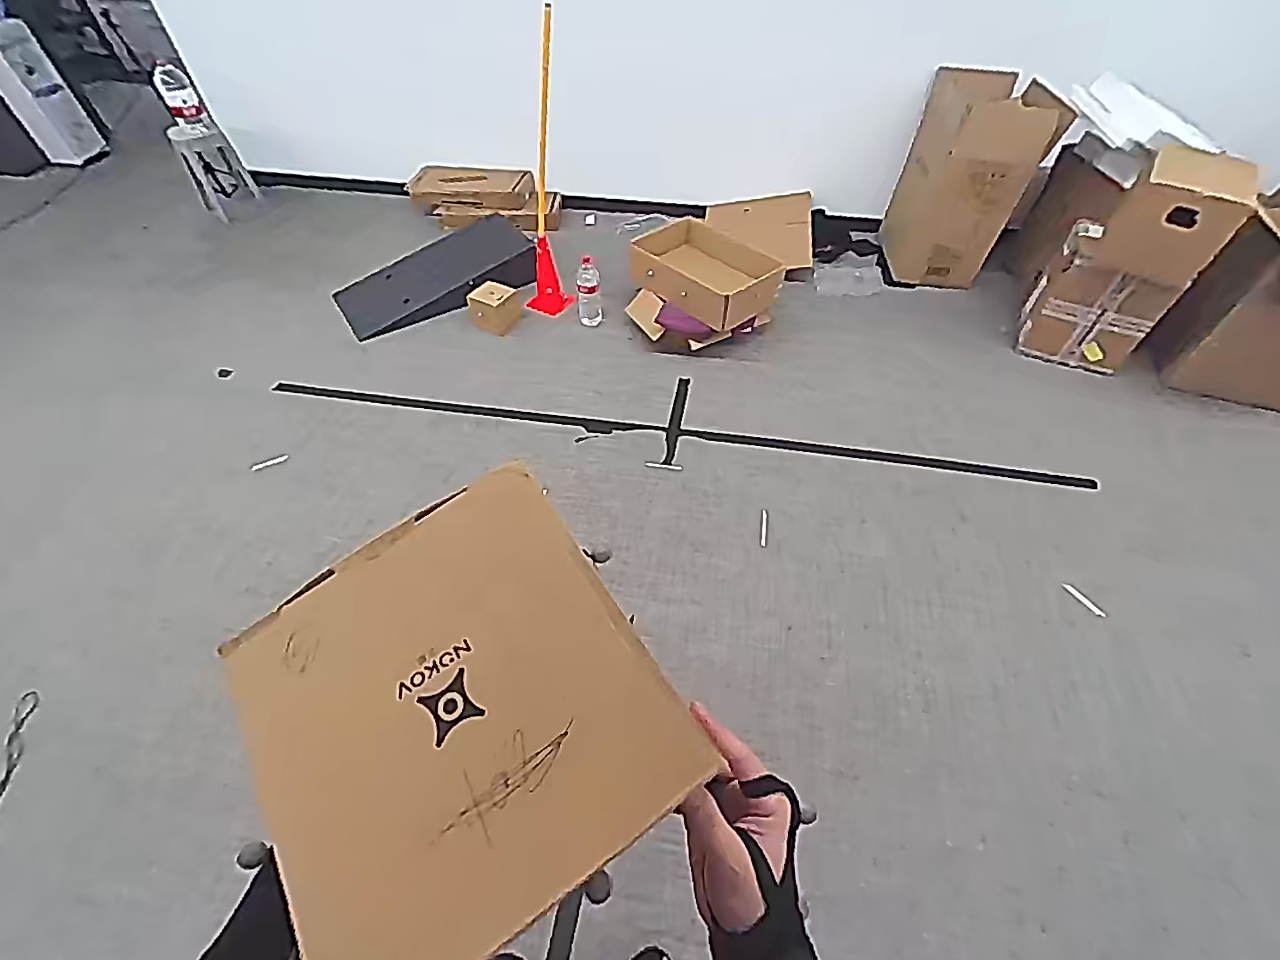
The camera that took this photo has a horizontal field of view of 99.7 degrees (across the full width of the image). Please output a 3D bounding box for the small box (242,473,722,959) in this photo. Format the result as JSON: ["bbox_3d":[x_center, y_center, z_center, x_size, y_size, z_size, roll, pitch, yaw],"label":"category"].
[{"bbox_3d":[-0.072,0.134,0.315,0.168,0.176,0.179,-36,66,-10],"label":"small box"}]
